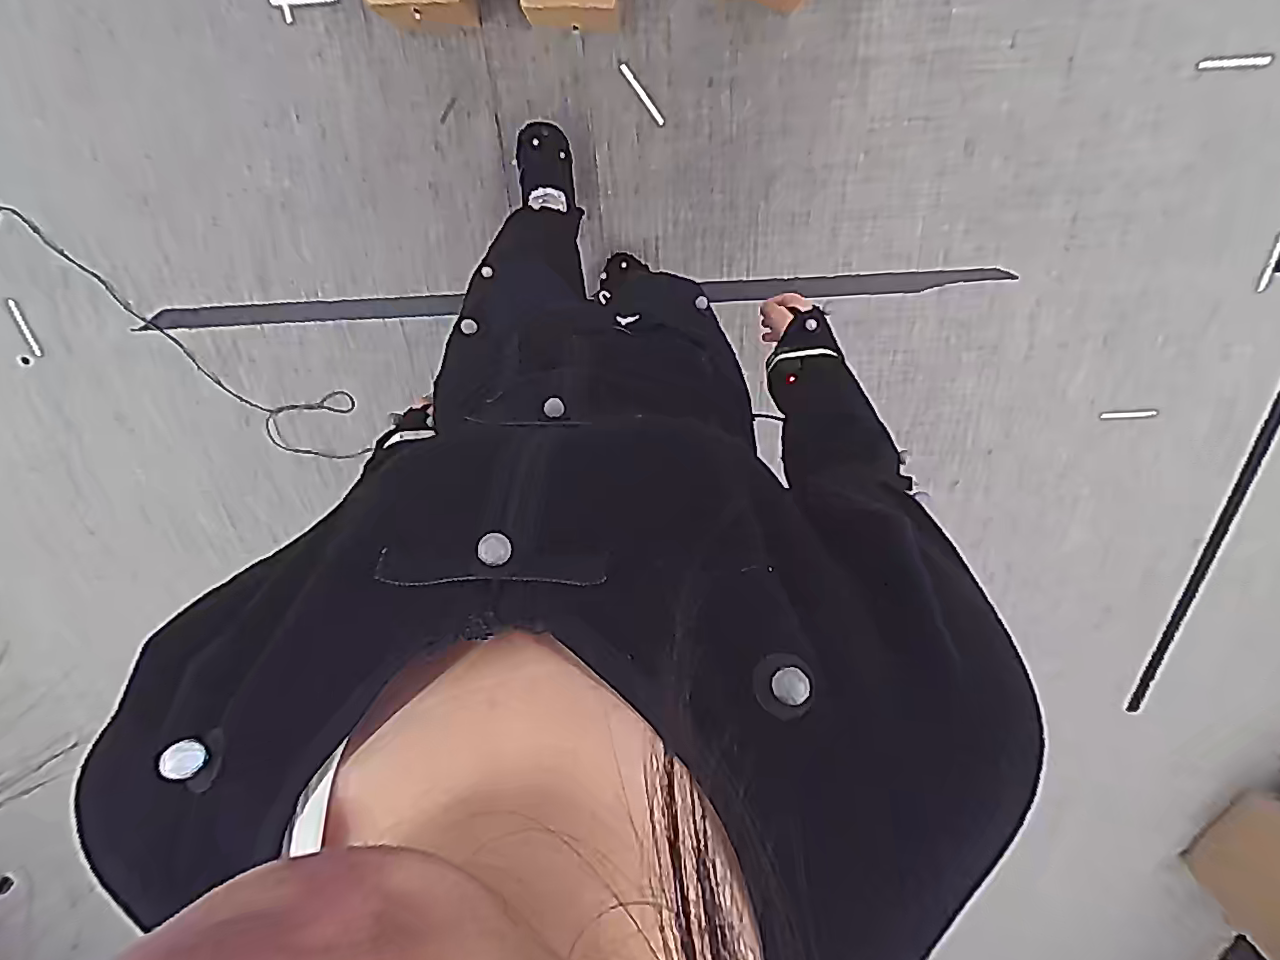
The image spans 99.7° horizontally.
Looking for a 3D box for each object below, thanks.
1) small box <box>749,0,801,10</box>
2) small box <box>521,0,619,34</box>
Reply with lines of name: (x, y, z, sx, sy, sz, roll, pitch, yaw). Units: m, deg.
small box: (0.250, -1.005, 0.992, 0.179, 0.176, 0.168, 12, 116, -6)
small box: (-0.127, -0.959, 1.008, 0.179, 0.176, 0.168, 0, 117, -1)
